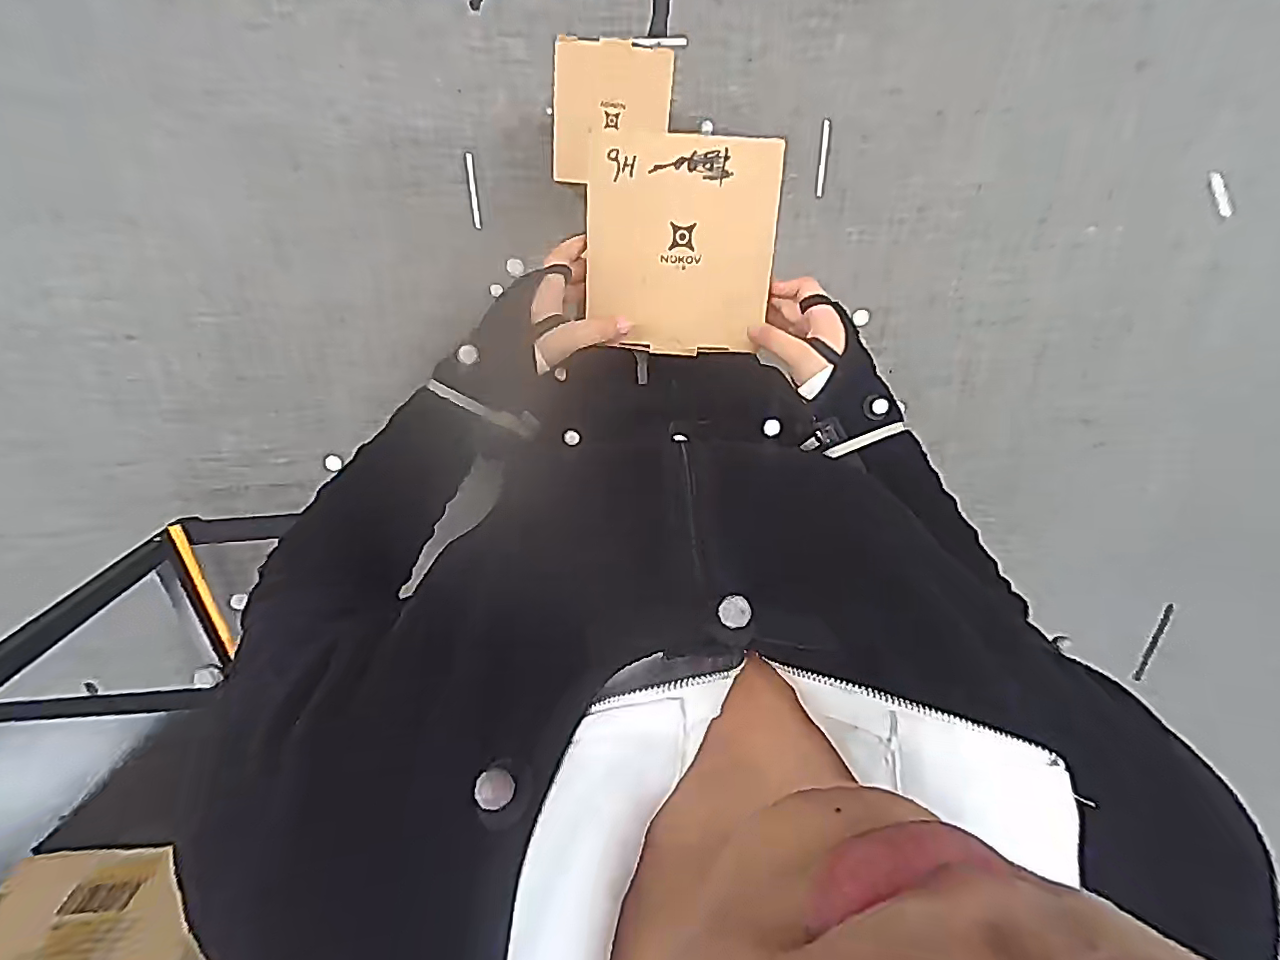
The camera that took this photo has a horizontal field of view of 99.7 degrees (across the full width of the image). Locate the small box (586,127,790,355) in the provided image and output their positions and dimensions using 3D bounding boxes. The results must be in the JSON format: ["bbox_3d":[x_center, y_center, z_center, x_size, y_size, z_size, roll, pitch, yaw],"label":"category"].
[{"bbox_3d":[0.037,-0.229,0.542,0.168,0.176,0.179,2,111,-2],"label":"small box"}]

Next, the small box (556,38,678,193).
[{"bbox_3d":[-0.041,-0.543,0.835,0.168,0.176,0.179,3,116,-5],"label":"small box"}]
